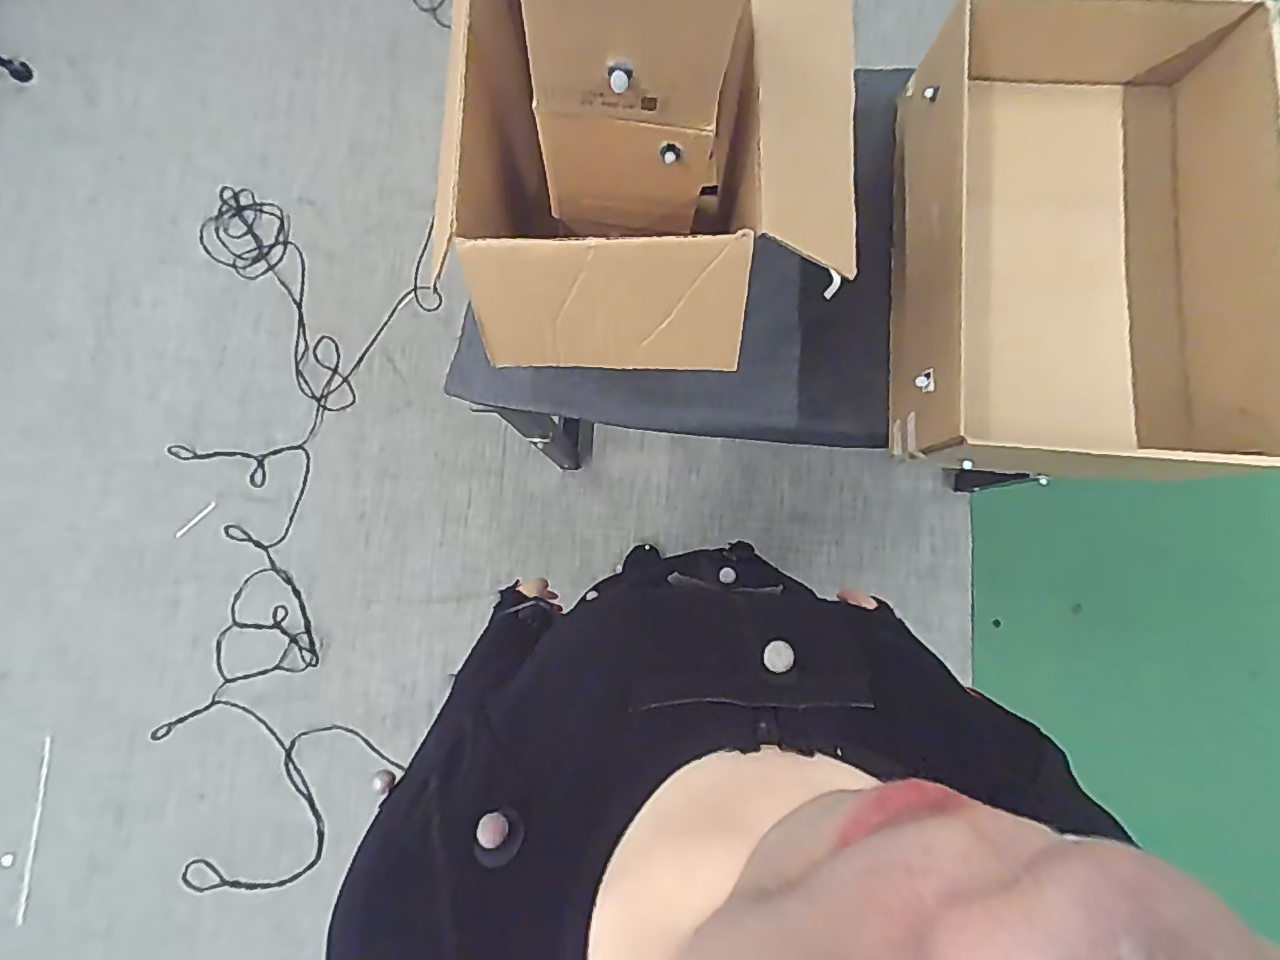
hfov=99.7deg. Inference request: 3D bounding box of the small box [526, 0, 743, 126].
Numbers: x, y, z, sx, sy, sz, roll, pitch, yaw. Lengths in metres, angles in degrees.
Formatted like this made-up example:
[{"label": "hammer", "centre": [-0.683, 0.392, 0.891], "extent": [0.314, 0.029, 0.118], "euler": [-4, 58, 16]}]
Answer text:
[{"label": "small box", "centre": [-0.005, -0.434, 0.437], "extent": [0.168, 0.176, 0.179], "euler": [2, 82, -3]}]
